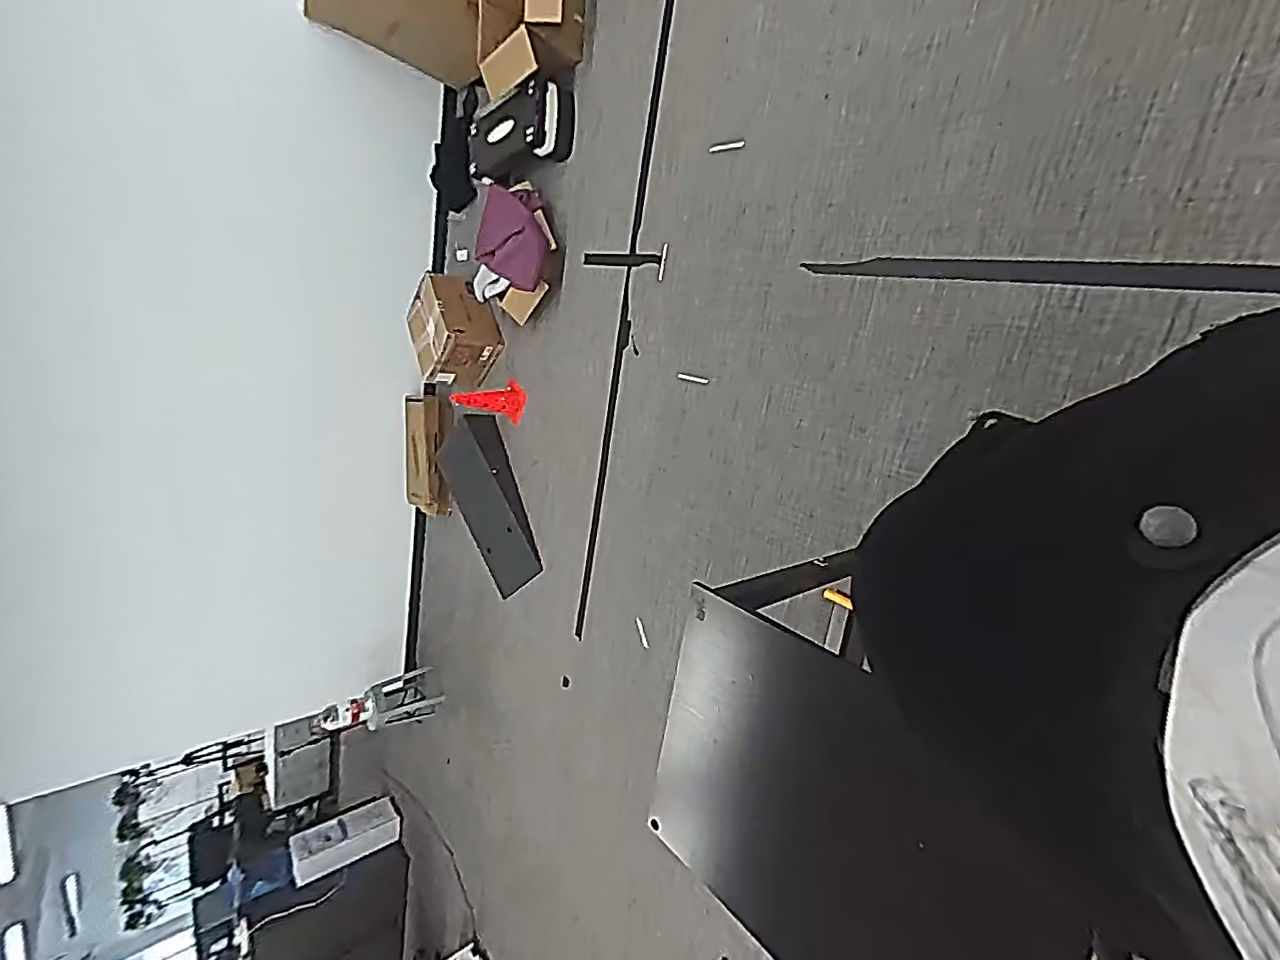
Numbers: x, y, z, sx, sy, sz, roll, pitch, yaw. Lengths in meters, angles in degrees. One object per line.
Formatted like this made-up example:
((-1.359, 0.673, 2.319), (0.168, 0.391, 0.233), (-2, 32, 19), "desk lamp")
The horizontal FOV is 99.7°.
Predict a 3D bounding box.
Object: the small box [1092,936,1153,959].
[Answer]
((0.535, 0.628, 0.541), (0.168, 0.176, 0.179), (17, 105, 46), "small box")
